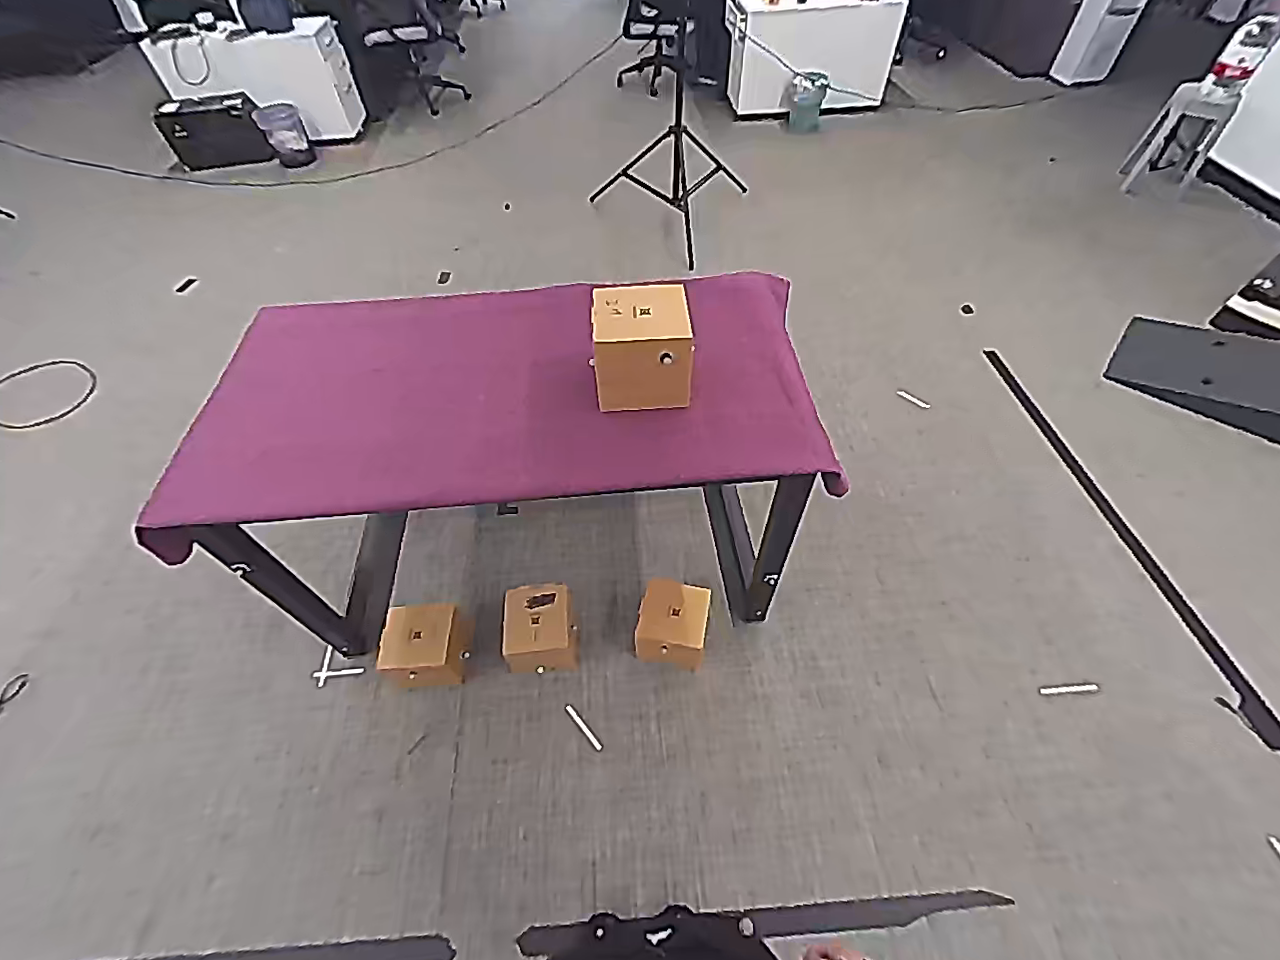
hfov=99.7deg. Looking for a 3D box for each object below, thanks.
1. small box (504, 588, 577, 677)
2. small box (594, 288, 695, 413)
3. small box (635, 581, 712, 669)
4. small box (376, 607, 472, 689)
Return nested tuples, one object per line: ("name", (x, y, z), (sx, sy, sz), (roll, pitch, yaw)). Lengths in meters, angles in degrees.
("small box", (-0.264, 0.412, 1.459), (0.168, 0.176, 0.179), (-6, 53, -2))
("small box", (0.006, -0.244, 1.035), (0.179, 0.176, 0.168), (-4, 51, 0))
("small box", (0.093, 0.396, 1.461), (0.179, 0.176, 0.168), (8, 54, 10))
("small box", (-0.566, 0.452, 1.442), (0.179, 0.176, 0.168), (-2, 53, -1))
